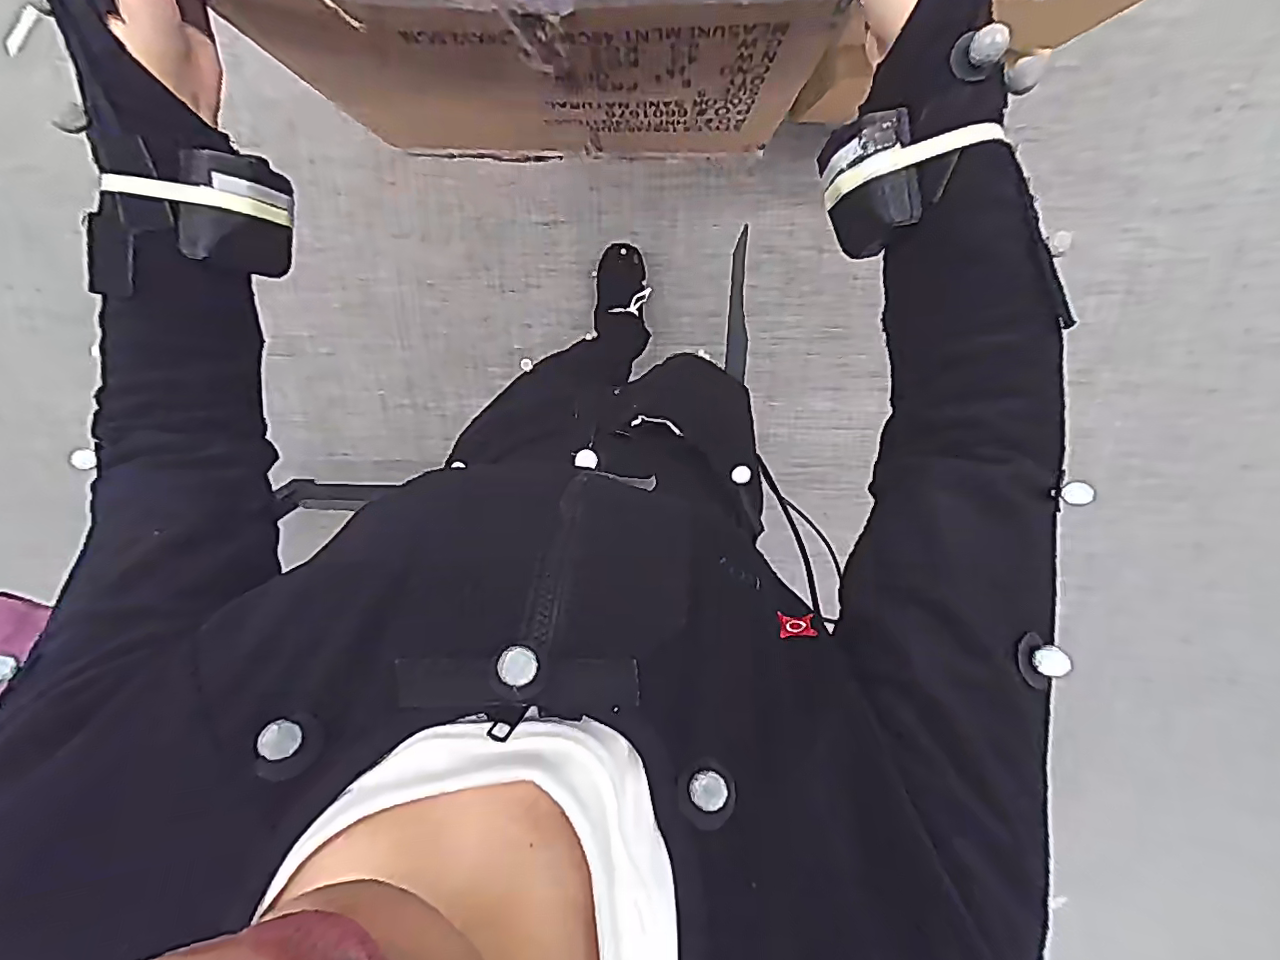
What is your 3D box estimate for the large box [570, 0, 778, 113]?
[{"bbox_3d":[0.052,-0.879,0.890,0.320,0.320,0.408,0,113,3],"label":"large box"}]
